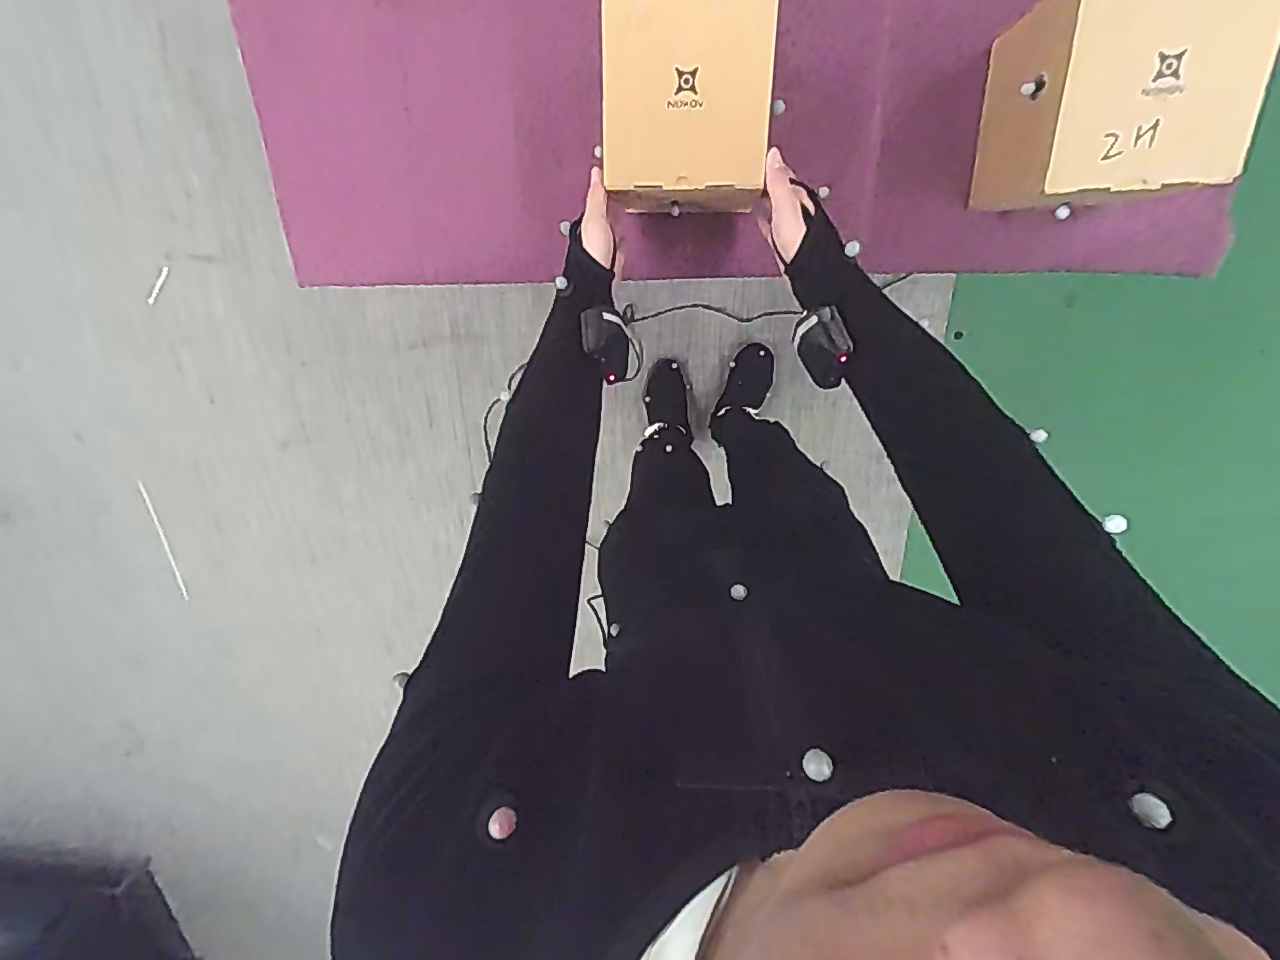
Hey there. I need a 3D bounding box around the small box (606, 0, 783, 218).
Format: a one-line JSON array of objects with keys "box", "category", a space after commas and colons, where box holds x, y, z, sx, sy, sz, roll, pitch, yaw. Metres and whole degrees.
[{"box": [0.053, -0.397, 0.601, 0.168, 0.176, 0.179, 2, 112, 4], "category": "small box"}]

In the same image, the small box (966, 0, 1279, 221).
[{"box": [0.471, -0.375, 0.563, 0.168, 0.176, 0.179, 1, 112, 7], "category": "small box"}]
